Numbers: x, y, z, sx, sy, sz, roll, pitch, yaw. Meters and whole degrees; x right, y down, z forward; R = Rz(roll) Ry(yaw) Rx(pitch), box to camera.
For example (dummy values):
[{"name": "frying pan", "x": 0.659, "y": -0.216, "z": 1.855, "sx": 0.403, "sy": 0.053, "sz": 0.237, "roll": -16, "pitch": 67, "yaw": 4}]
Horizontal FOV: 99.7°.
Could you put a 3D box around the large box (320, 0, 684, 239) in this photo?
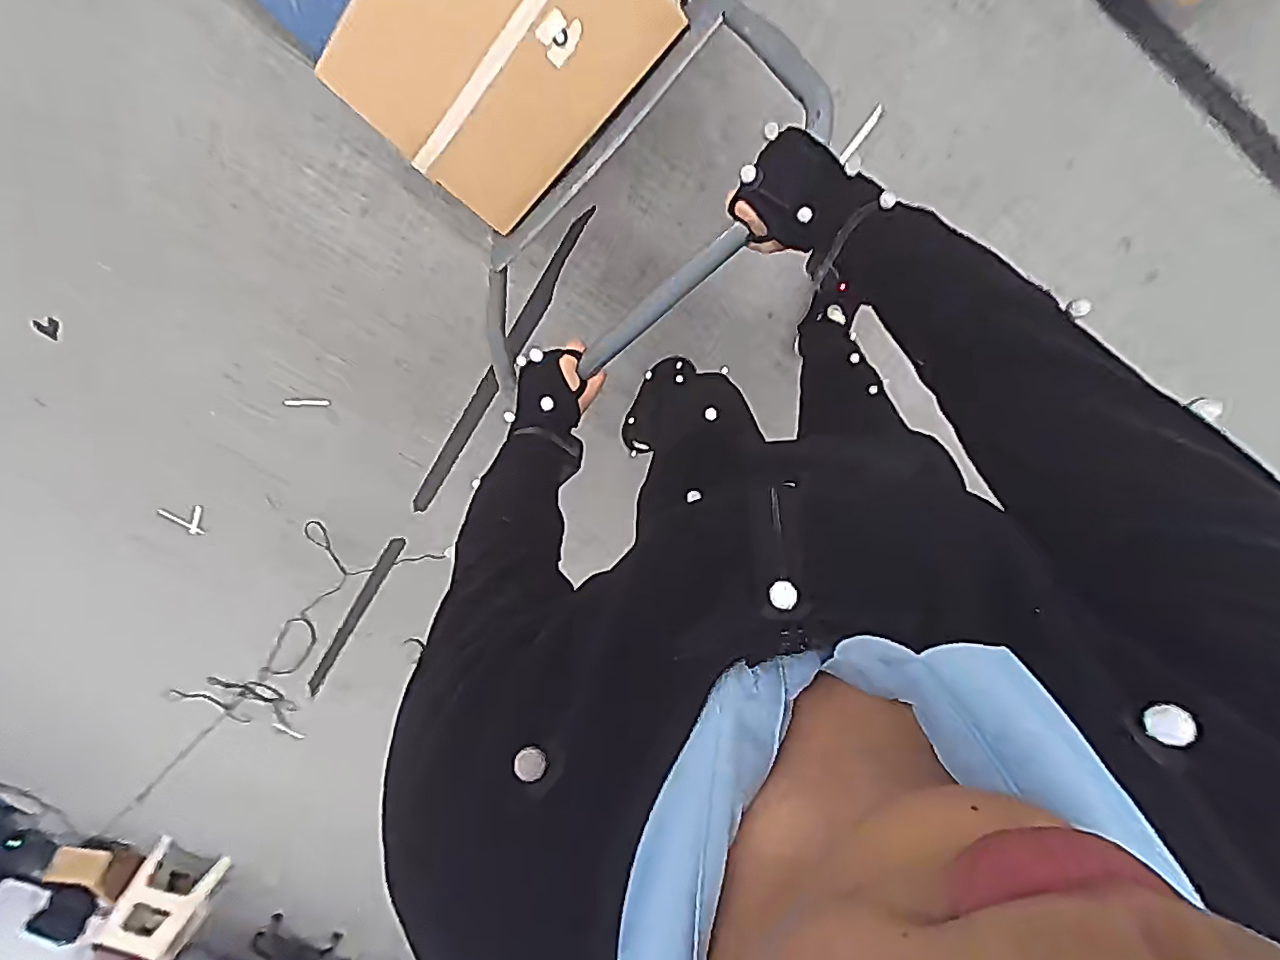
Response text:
[{"name": "large box", "x": -0.199, "y": -0.671, "z": 0.814, "sx": 0.408, "sy": 0.320, "sz": 0.320, "roll": -37, "pitch": 131, "yaw": 27}]
